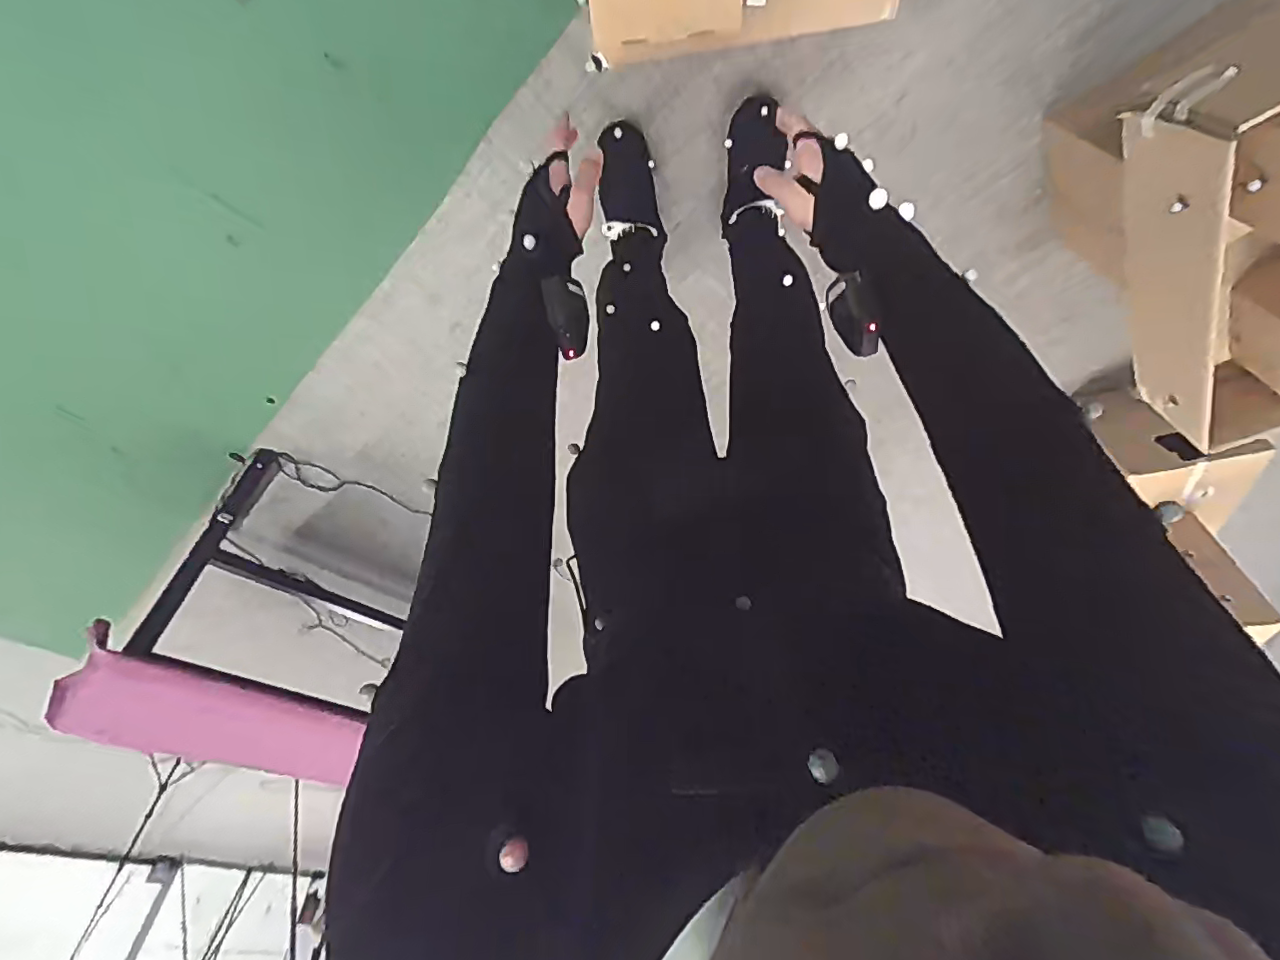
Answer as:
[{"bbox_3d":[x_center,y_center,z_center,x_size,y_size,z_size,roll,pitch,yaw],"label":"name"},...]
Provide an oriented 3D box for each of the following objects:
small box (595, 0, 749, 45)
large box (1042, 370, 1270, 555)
[{"bbox_3d":[0.026,-0.604,0.584,0.168,0.176,0.179,-5,139,3],"label":"small box"},{"bbox_3d":[1.435,-0.041,1.565,0.320,0.320,0.408,-14,135,14],"label":"large box"}]
